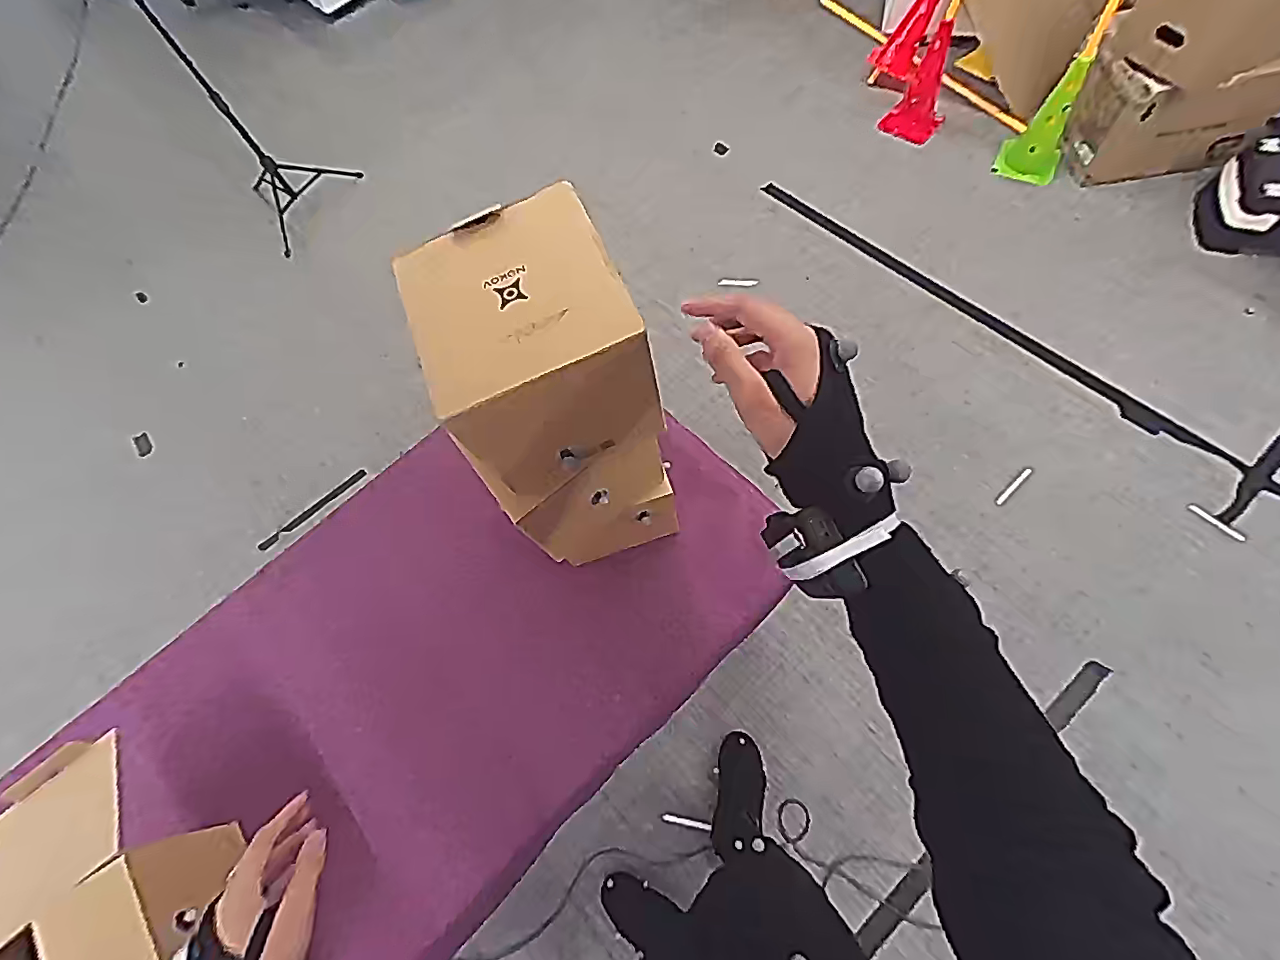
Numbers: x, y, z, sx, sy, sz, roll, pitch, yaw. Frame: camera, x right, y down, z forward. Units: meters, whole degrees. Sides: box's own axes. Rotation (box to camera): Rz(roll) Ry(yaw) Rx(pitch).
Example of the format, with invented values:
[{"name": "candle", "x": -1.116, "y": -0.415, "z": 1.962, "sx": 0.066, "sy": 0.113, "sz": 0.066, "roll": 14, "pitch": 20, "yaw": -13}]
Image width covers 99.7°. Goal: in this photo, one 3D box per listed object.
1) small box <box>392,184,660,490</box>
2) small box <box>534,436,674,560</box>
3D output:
[{"name": "small box", "x": -0.092, "y": -0.117, "z": 0.494, "sx": 0.168, "sy": 0.176, "sz": 0.179, "roll": -23, "pitch": 68, "yaw": 0}, {"name": "small box", "x": -0.054, "y": 0.003, "z": 0.797, "sx": 0.179, "sy": 0.176, "sz": 0.168, "roll": -18, "pitch": 67, "yaw": 0}]
